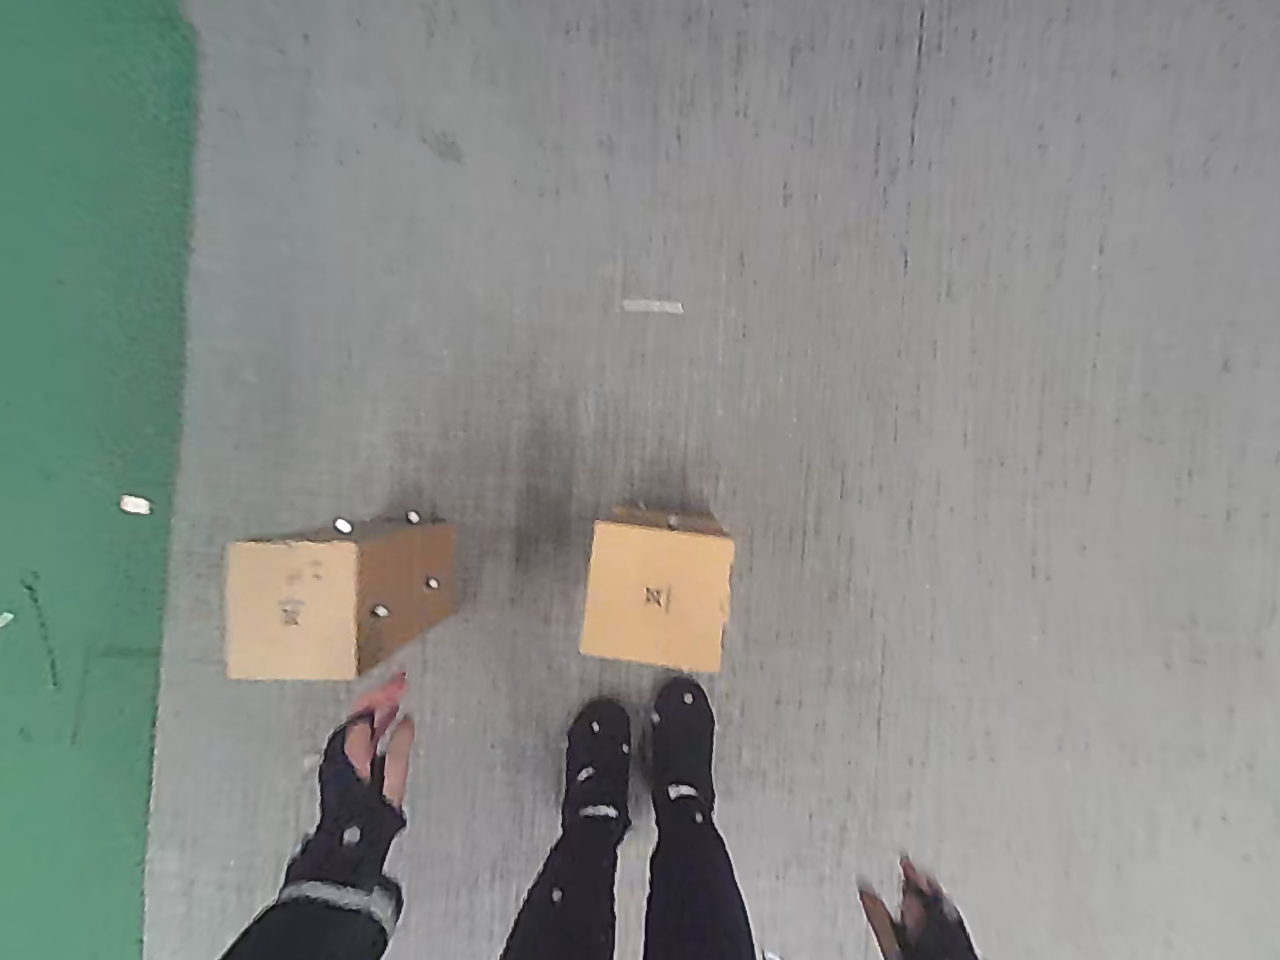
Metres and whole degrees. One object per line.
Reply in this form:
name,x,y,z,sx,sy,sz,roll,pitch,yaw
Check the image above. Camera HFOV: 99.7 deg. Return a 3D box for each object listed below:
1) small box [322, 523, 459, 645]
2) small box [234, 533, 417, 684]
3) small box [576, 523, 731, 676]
small box,-0.423,0.171,0.933,0.168,0.176,0.179,2,89,2
small box,-0.432,0.172,0.769,0.168,0.176,0.179,1,89,1
small box,0.020,0.153,0.749,0.179,0.176,0.168,7,89,3
